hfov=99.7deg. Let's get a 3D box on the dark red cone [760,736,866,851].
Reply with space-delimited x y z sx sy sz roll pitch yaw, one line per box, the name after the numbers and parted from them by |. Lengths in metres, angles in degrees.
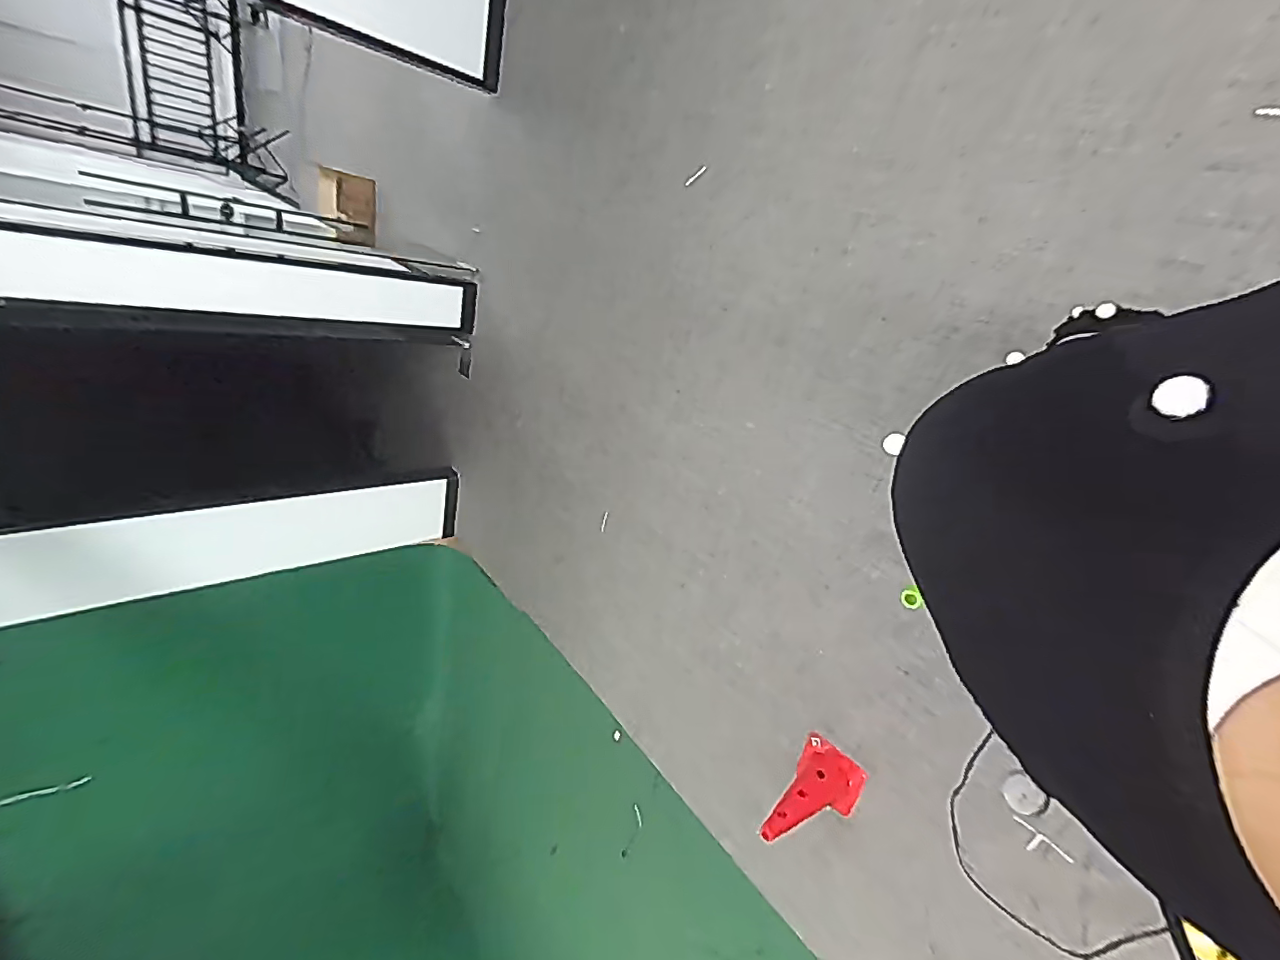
0.484 0.964 1.604 0.202 0.394 0.201 29 119 41 | dark red cone
